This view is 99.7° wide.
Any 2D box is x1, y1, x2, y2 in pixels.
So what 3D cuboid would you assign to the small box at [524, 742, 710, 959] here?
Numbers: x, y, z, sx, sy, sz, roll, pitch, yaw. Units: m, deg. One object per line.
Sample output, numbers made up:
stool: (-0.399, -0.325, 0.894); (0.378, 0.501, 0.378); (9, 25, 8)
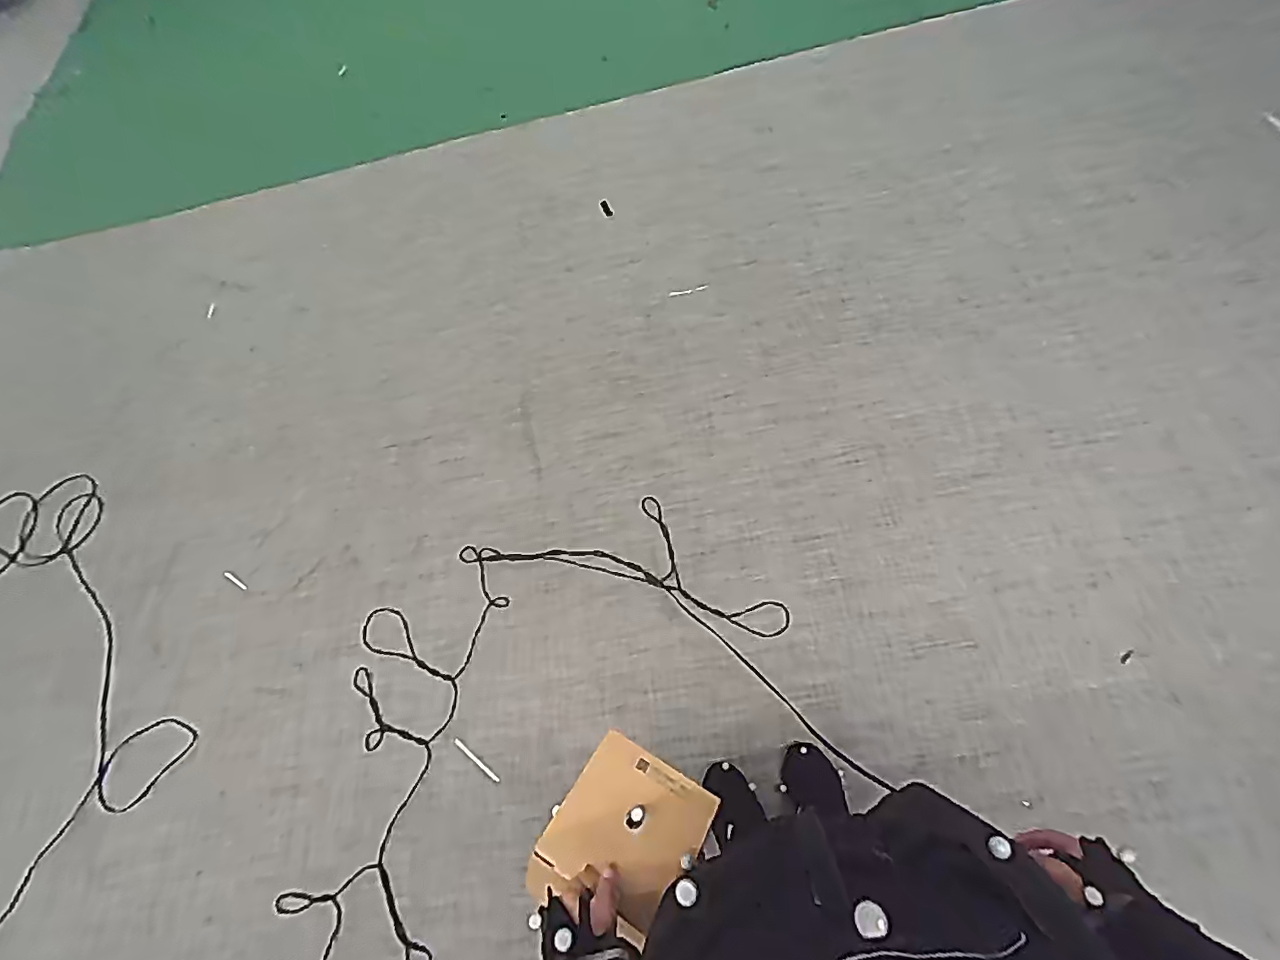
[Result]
small box: (-0.026, 0.474, 0.686); (0.168, 0.179, 0.176); (26, 40, 15)
